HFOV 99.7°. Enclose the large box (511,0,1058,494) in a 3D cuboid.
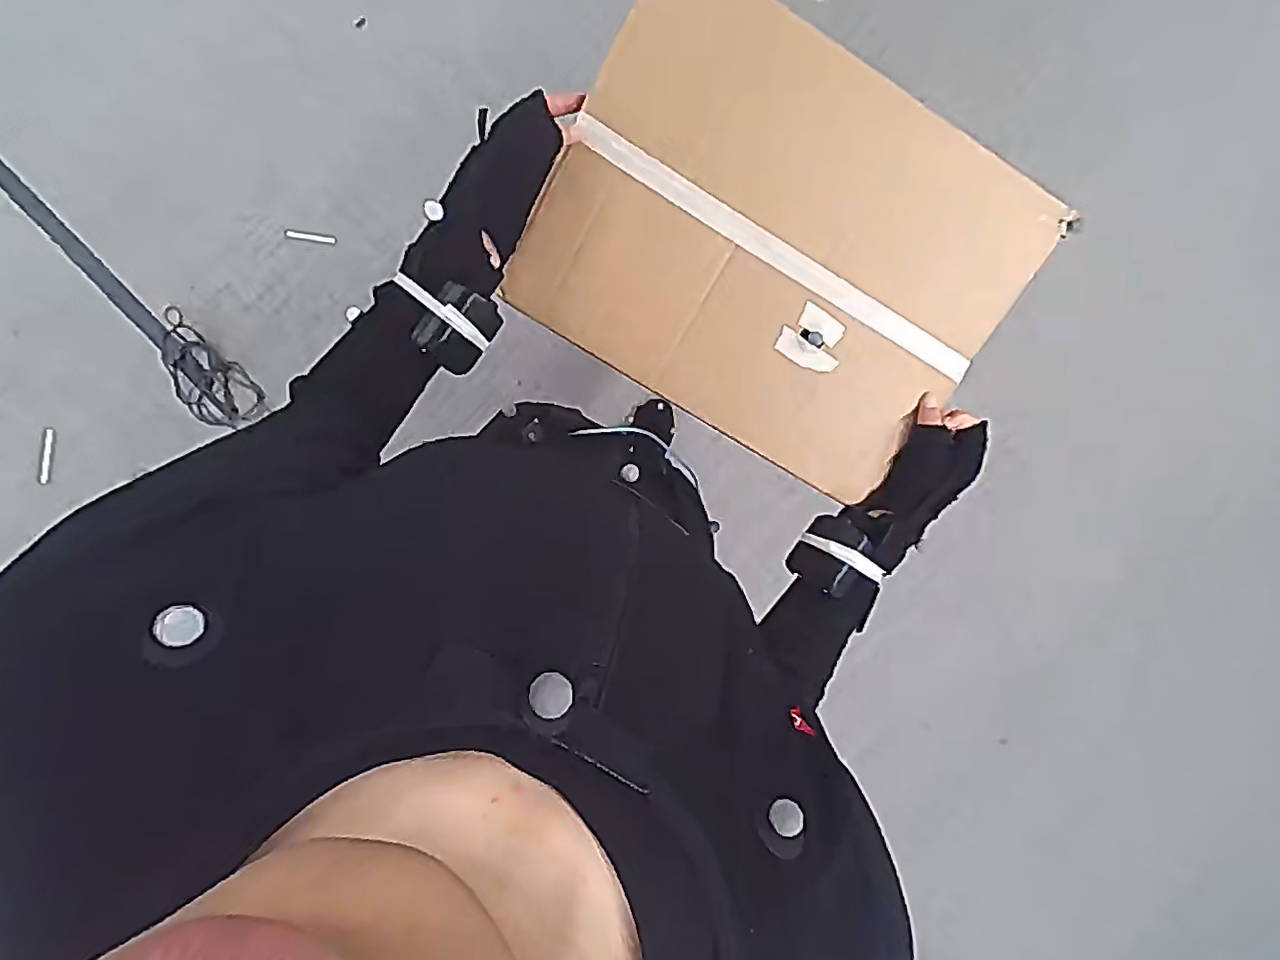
[{"bbox_3d":[0.123,-0.241,0.628,0.408,0.320,0.320,30,103,-7],"label":"large box"}]
